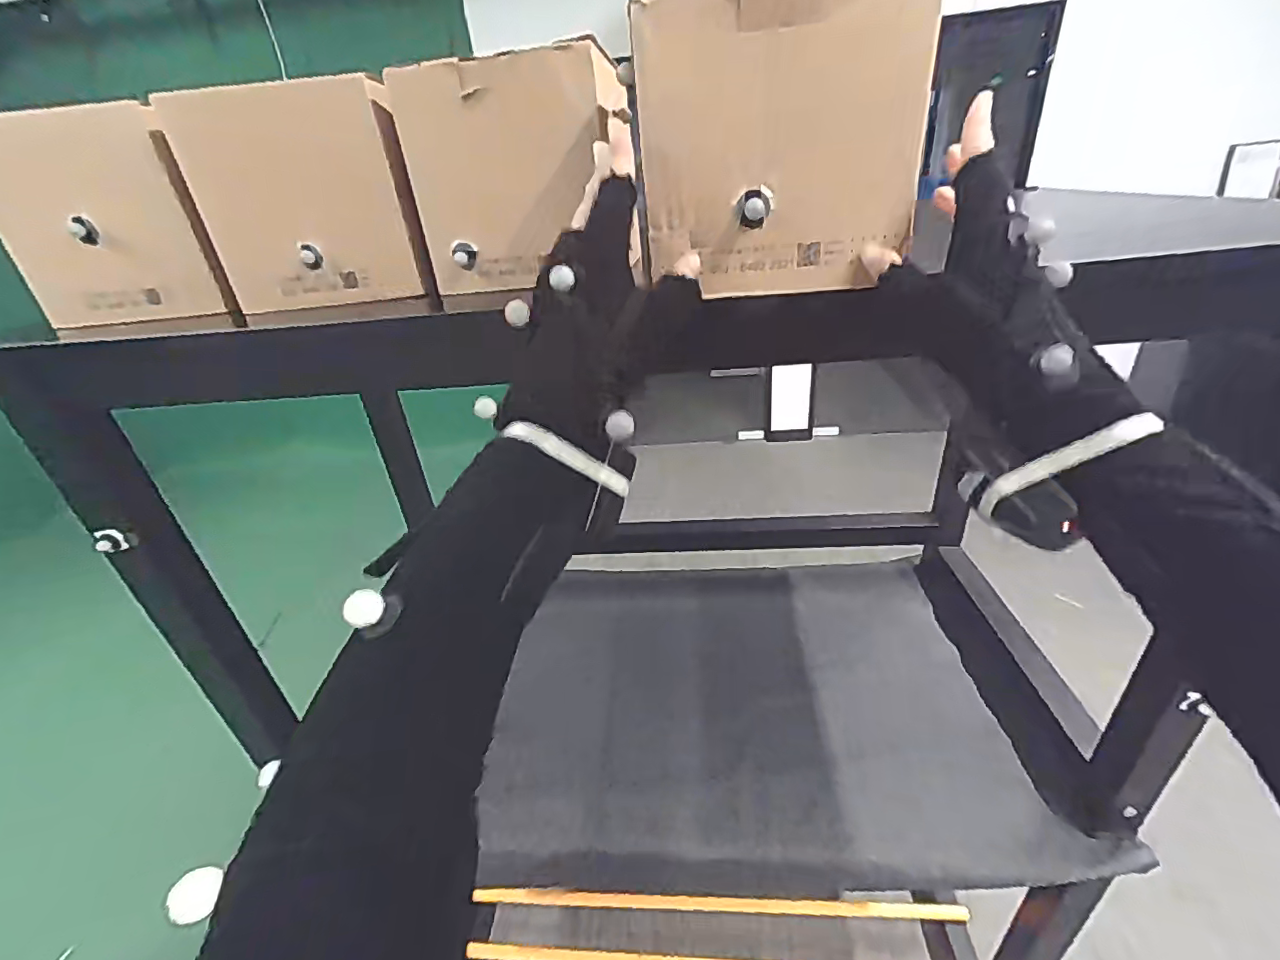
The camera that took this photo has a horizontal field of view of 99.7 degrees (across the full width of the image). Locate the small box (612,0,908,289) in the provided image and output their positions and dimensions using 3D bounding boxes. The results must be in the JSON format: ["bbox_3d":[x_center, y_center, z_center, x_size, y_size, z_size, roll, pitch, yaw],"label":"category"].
[{"bbox_3d":[0.080,-0.245,0.407,0.168,0.176,0.179,-2,29,8],"label":"small box"}]

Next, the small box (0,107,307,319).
[{"bbox_3d":[-0.485,-0.266,0.559,0.168,0.176,0.179,-4,28,0],"label":"small box"}]

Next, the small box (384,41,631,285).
[{"bbox_3d":[-0.105,-0.288,0.522,0.168,0.176,0.179,-1,28,8],"label":"small box"}]
